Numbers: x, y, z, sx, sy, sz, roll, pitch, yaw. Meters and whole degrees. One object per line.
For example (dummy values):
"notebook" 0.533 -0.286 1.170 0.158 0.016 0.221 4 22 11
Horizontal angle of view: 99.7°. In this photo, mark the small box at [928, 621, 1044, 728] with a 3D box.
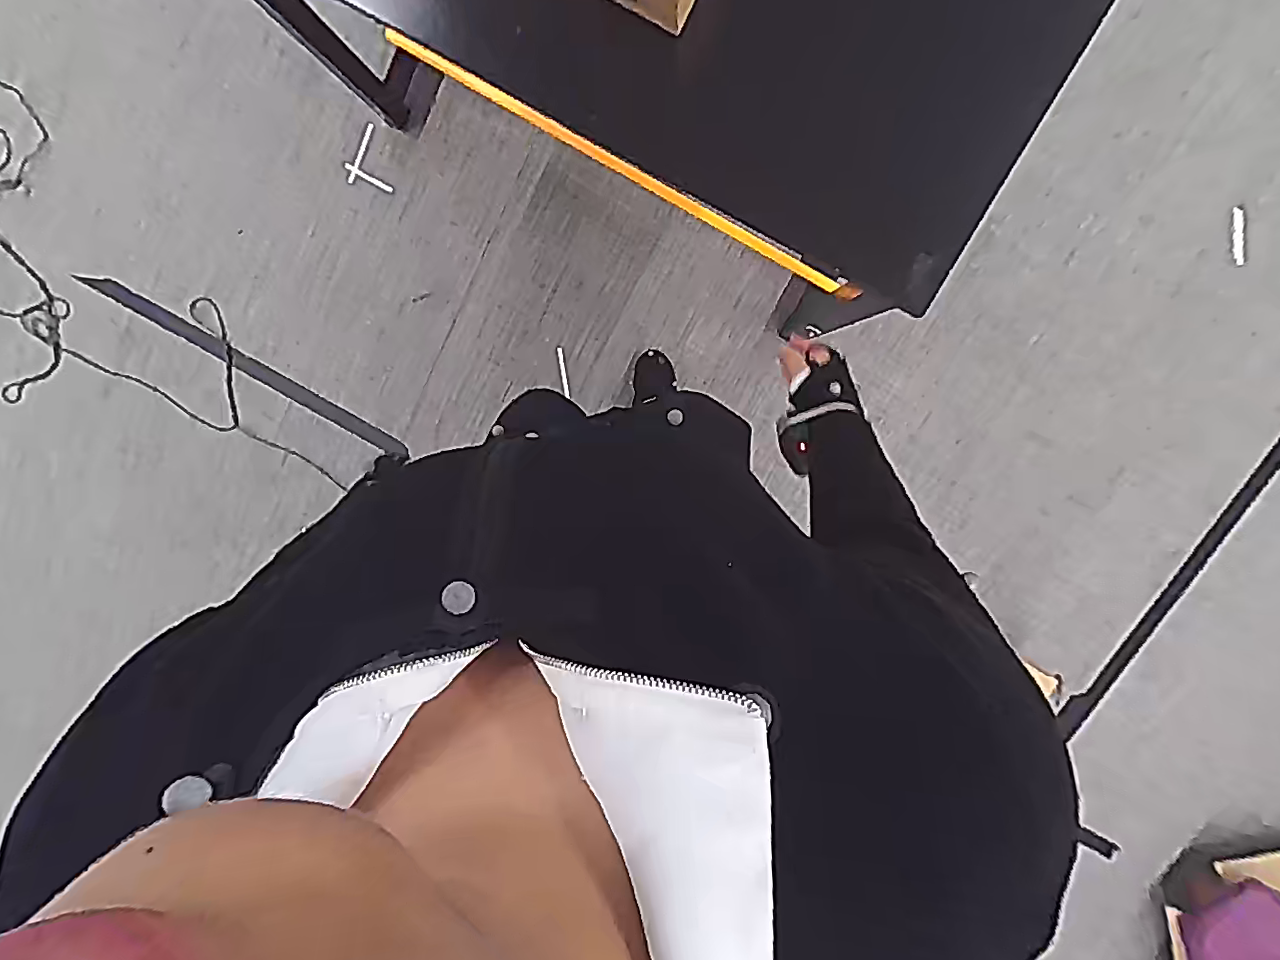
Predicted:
"small box" 0.912 0.516 1.451 0.168 0.176 0.179 27 100 -2

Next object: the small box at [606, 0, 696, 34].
"small box" 0.010 -0.632 0.558 0.168 0.176 0.179 28 101 -1
